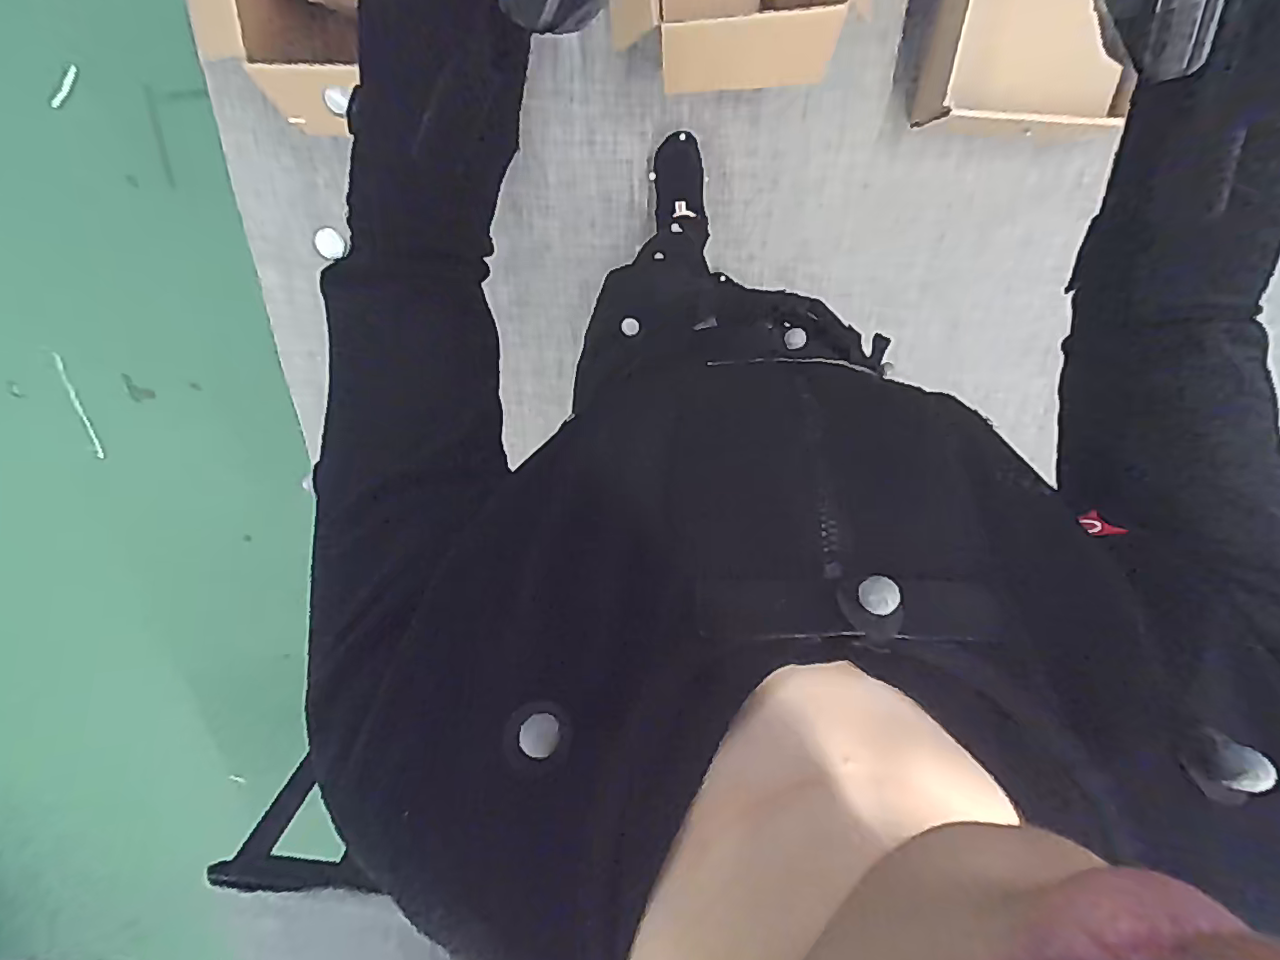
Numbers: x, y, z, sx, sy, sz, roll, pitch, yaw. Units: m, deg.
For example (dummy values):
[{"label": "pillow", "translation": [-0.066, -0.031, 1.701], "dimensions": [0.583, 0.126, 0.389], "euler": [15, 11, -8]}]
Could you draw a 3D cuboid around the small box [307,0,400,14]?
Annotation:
[{"label": "small box", "translation": [-0.511, -0.903, 0.888], "dimensions": [0.179, 0.176, 0.168], "euler": [6, 113, 0]}]
